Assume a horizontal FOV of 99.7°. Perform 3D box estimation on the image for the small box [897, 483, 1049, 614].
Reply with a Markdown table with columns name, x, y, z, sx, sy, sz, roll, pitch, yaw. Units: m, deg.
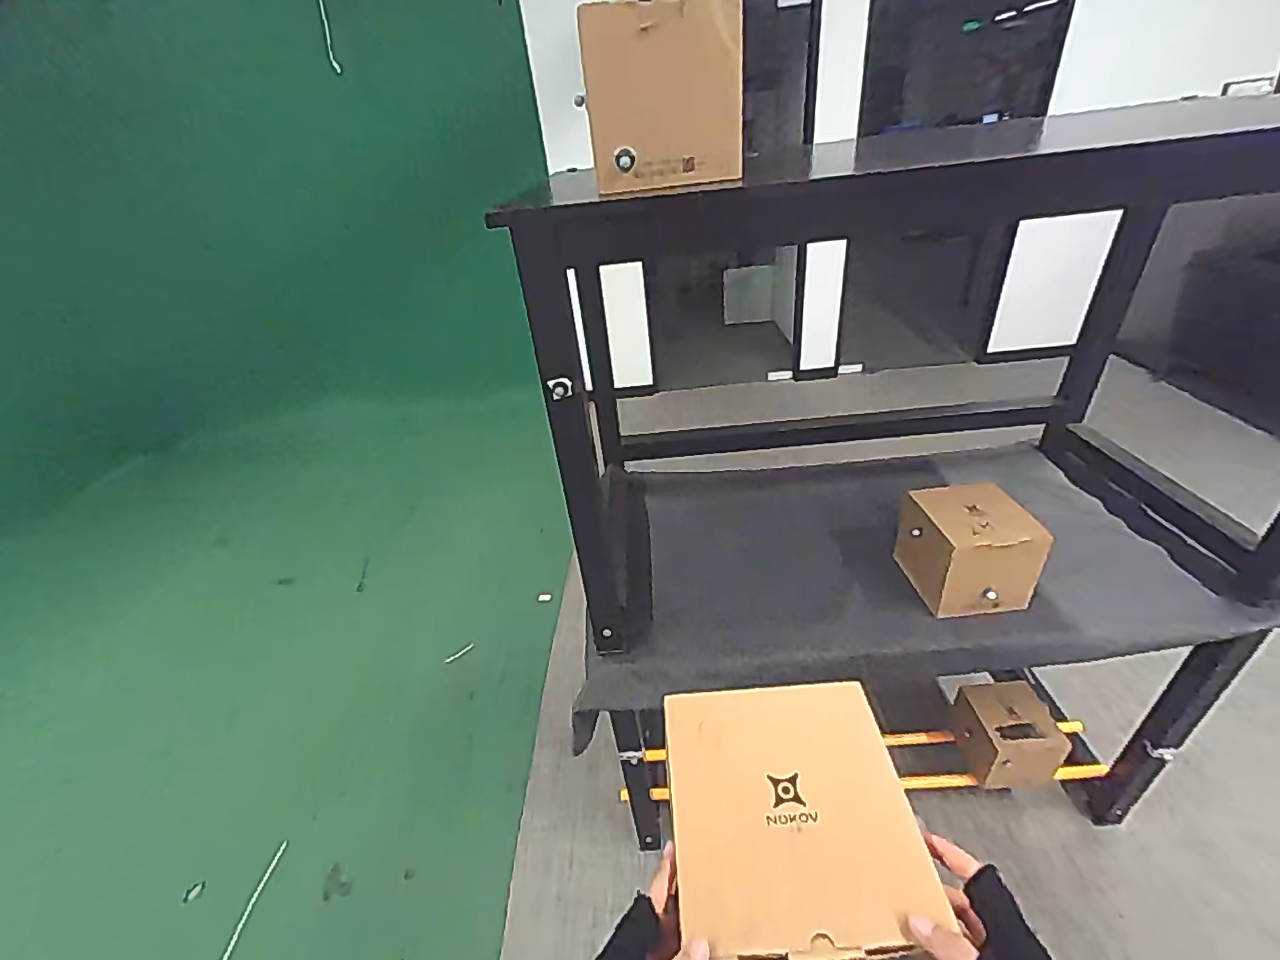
| name | x | y | z | sx | sy | sz | roll | pitch | yaw |
| --- | --- | --- | --- | --- | --- | --- | --- | --- | --- |
| small box | 0.605 | 0.126 | 1.013 | 0.168 | 0.176 | 0.179 | -7 | 32 | 1 |

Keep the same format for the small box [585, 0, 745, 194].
| name | x | y | z | sx | sy | sz | roll | pitch | yaw |
| --- | --- | --- | --- | --- | --- | --- | --- | --- | --- |
| small box | 0.028 | -0.447 | 0.651 | 0.168 | 0.176 | 0.179 | -7 | 32 | -2 |
